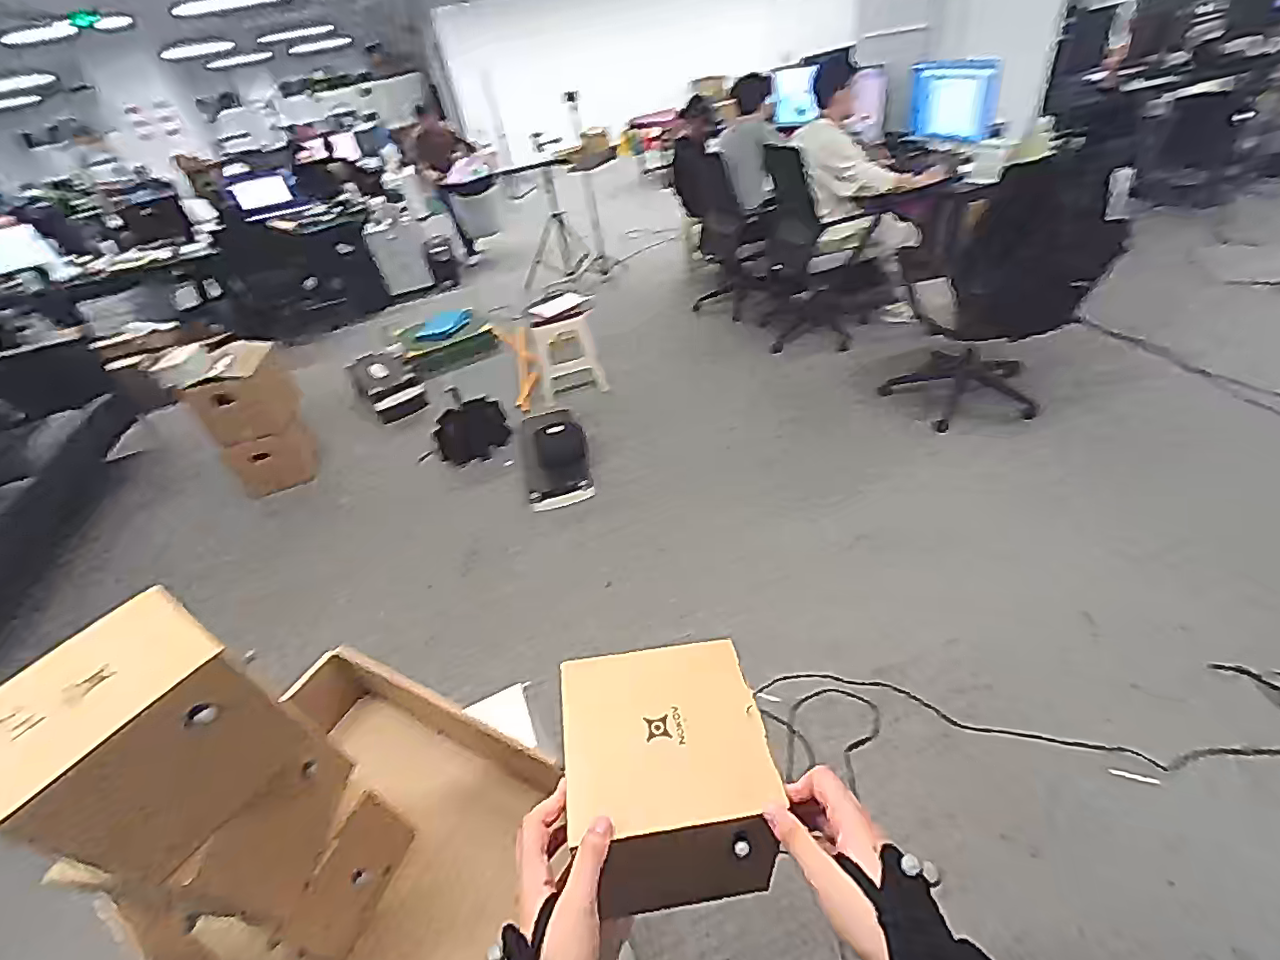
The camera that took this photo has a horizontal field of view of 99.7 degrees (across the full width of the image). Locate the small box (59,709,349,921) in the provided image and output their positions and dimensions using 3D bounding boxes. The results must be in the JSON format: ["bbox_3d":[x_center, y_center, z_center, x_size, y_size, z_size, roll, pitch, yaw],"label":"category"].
[{"bbox_3d":[-0.484,0.392,0.641,0.168,0.176,0.179,-5,41,9],"label":"small box"}]

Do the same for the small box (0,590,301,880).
[{"bbox_3d":[-0.489,0.252,0.550,0.168,0.176,0.179,17,48,31],"label":"small box"}]
